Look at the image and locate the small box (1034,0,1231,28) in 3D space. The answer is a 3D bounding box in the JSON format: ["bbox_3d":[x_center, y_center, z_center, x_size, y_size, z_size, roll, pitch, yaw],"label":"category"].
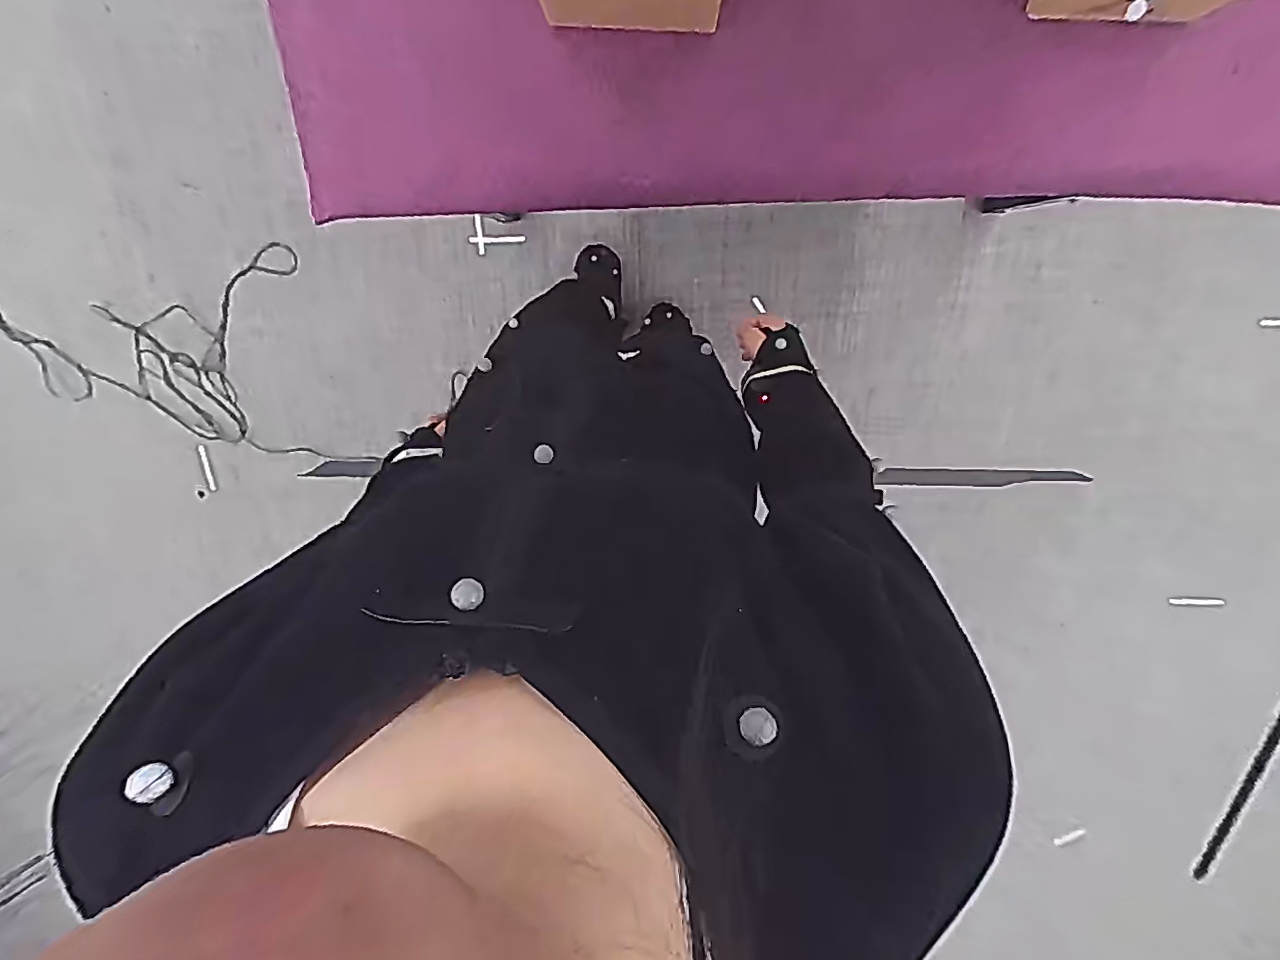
[{"bbox_3d":[0.472,-0.517,0.444,0.168,0.176,0.179,3,111,2],"label":"small box"}]

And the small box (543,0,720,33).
[{"bbox_3d":[-0.005,-0.517,0.461,0.179,0.176,0.168,3,110,1],"label":"small box"}]
